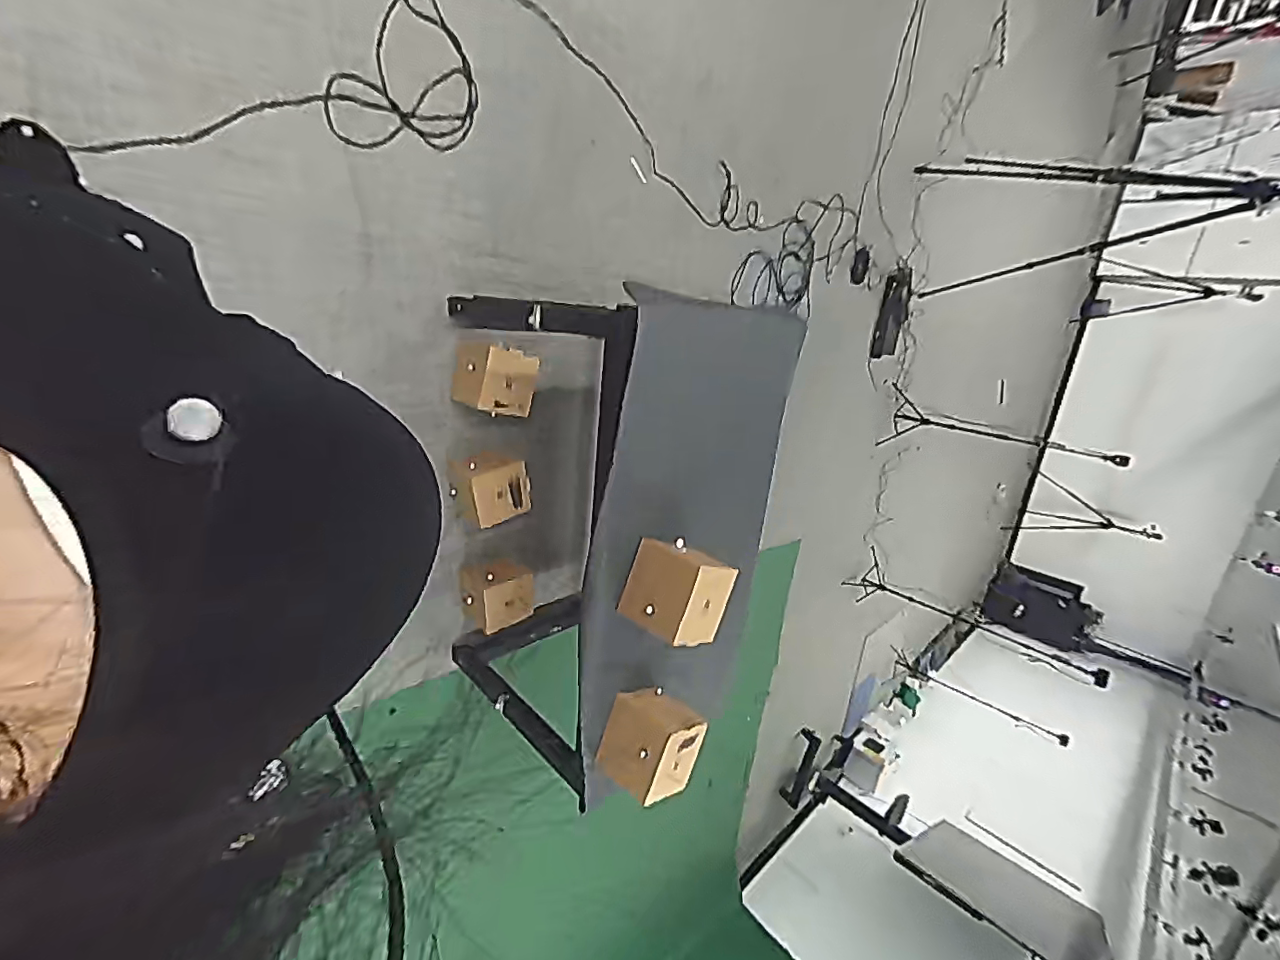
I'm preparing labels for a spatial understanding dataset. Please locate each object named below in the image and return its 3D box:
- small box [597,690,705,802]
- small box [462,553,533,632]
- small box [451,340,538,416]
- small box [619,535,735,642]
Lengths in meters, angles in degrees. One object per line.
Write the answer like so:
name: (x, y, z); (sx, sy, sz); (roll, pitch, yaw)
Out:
small box: (0.023, 0.620, 1.294); (0.168, 0.176, 0.179); (18, 92, -50)
small box: (-0.471, 0.362, 1.771); (0.179, 0.176, 0.168); (-17, 118, -41)
small box: (-0.423, -0.296, 1.553); (0.168, 0.176, 0.179); (5, 101, -46)
small box: (0.078, 0.239, 1.202); (0.168, 0.176, 0.179); (16, 93, -51)
